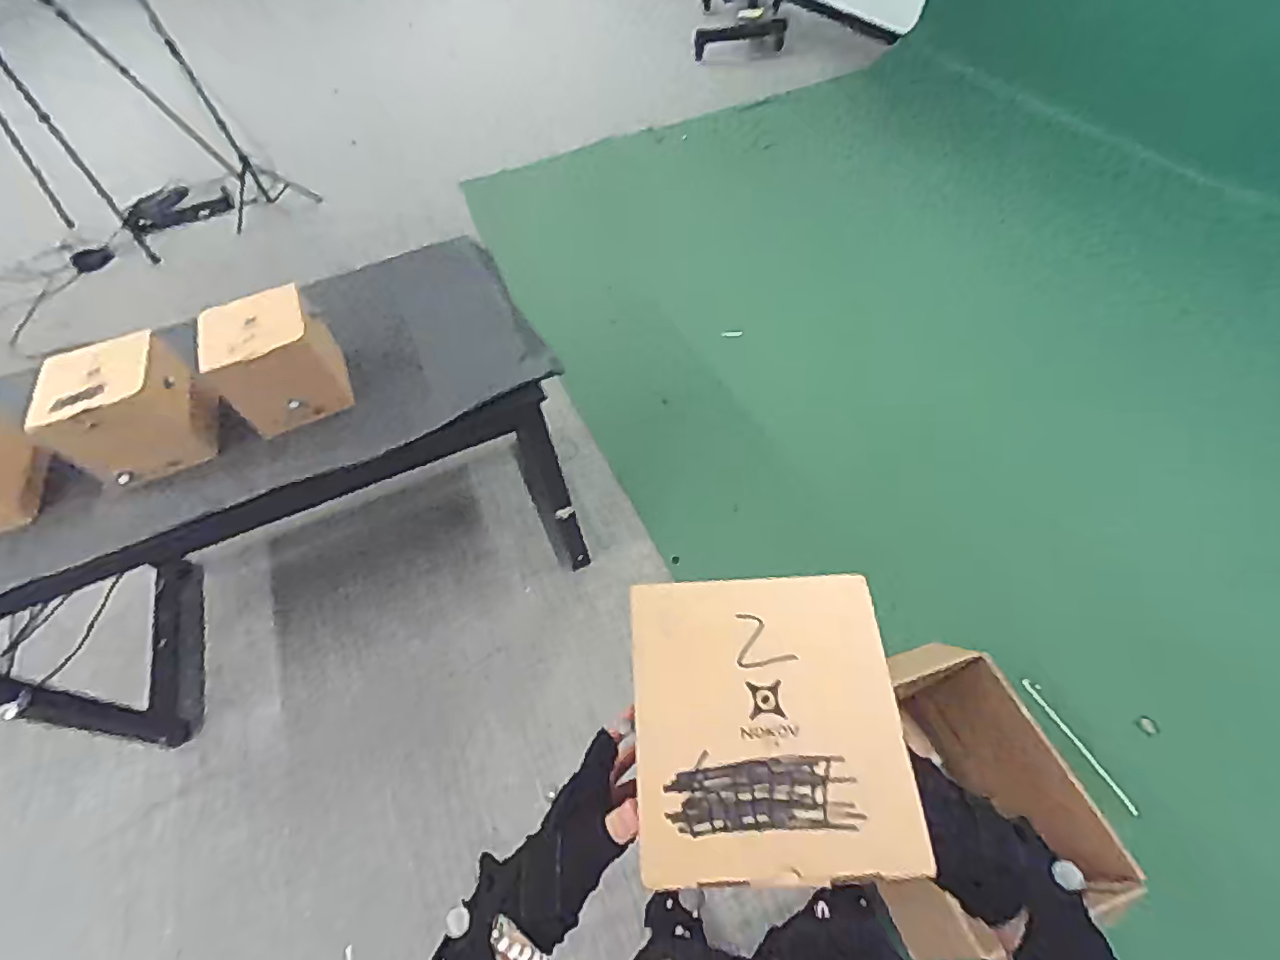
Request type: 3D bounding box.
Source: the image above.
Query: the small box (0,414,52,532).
[{"bbox_3d":[-1.125,-0.012,0.874,0.168,0.176,0.179,-23,56,-12],"label":"small box"}]

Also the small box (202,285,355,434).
[{"bbox_3d":[-0.646,-0.215,0.979,0.168,0.176,0.179,-24,57,-12],"label":"small box"}]

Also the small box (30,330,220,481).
[{"bbox_3d":[-0.864,-0.119,0.929,0.168,0.176,0.179,-22,56,-11],"label":"small box"}]
